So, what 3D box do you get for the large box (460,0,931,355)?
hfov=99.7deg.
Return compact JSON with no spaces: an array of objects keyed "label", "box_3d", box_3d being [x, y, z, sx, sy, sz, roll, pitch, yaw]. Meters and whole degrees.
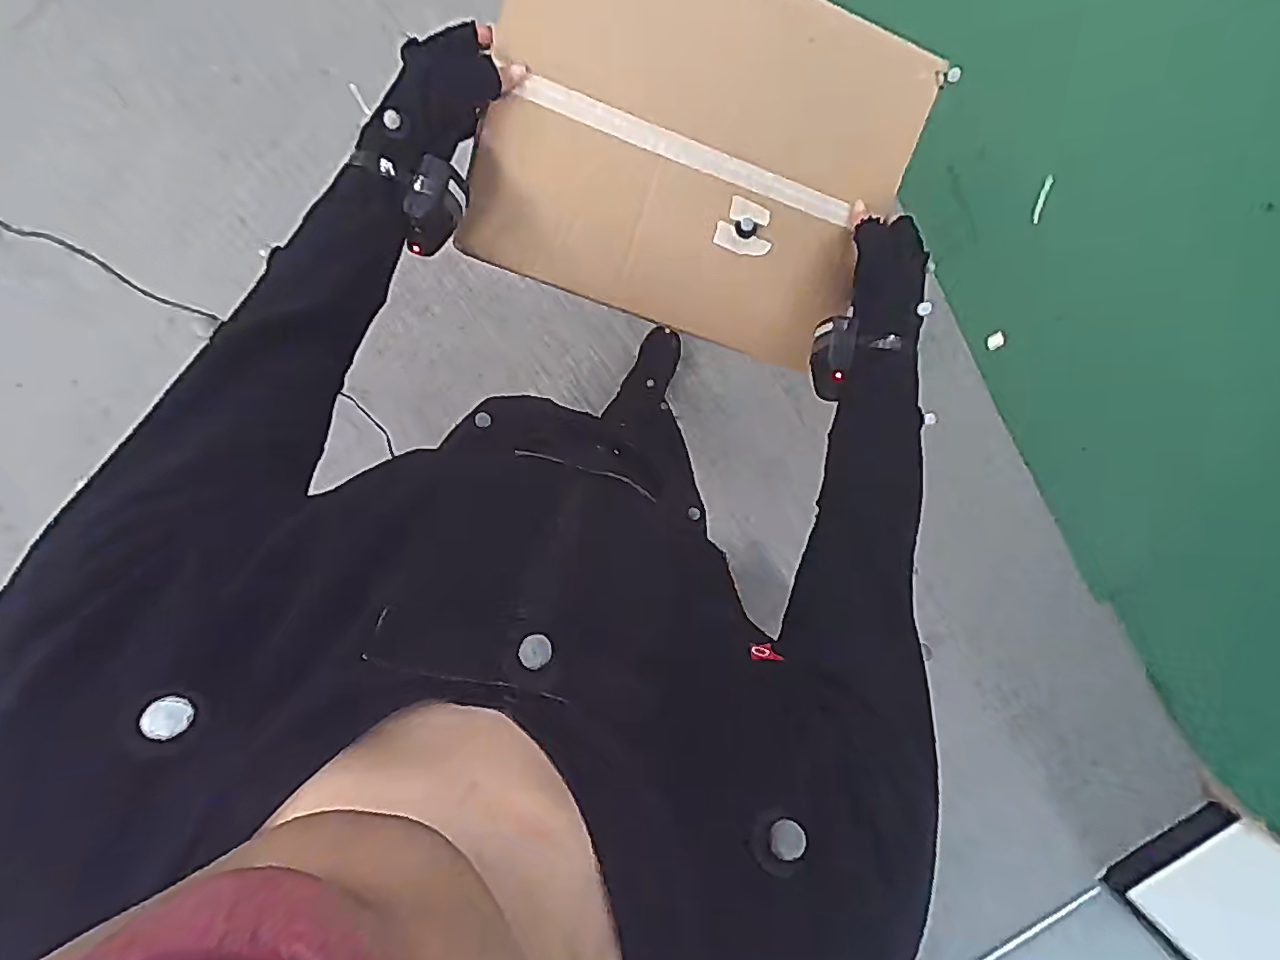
[{"label":"large box","box_3d":[0.034,-0.369,0.665,0.408,0.320,0.320,15,106,-11]}]
